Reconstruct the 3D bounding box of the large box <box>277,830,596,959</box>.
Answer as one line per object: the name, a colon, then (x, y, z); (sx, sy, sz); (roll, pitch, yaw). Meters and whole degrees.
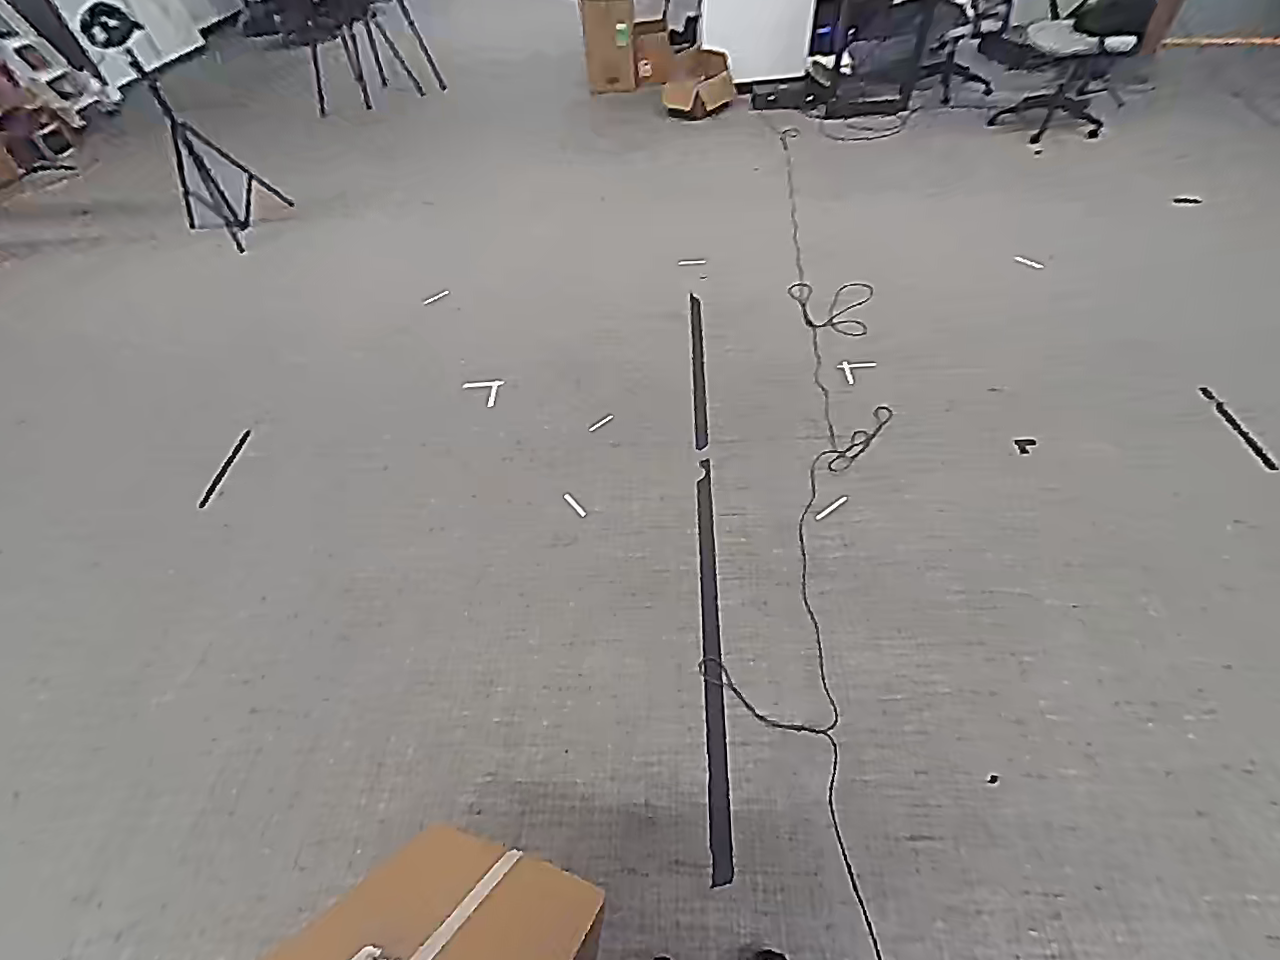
large box: (-0.289, 0.745, 0.671); (0.320, 0.408, 0.320); (9, 88, 18)
